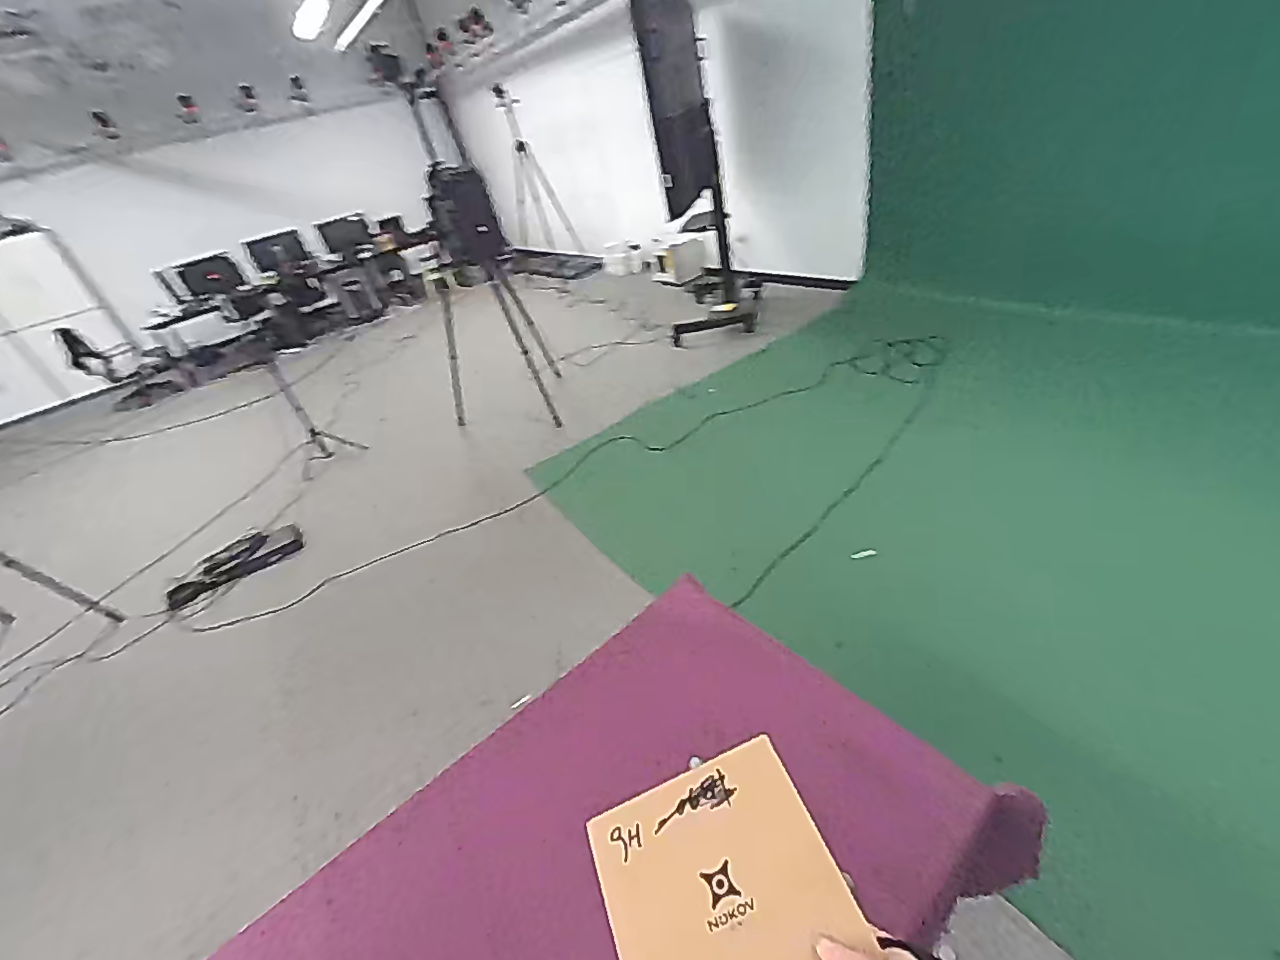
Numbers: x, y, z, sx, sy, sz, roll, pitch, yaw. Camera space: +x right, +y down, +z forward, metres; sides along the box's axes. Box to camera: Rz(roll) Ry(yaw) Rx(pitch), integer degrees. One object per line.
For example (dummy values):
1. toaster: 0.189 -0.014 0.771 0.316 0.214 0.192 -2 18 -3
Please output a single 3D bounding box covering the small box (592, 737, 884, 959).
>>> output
1. small box: 0.080 0.350 0.441 0.168 0.176 0.179 -22 45 -5
